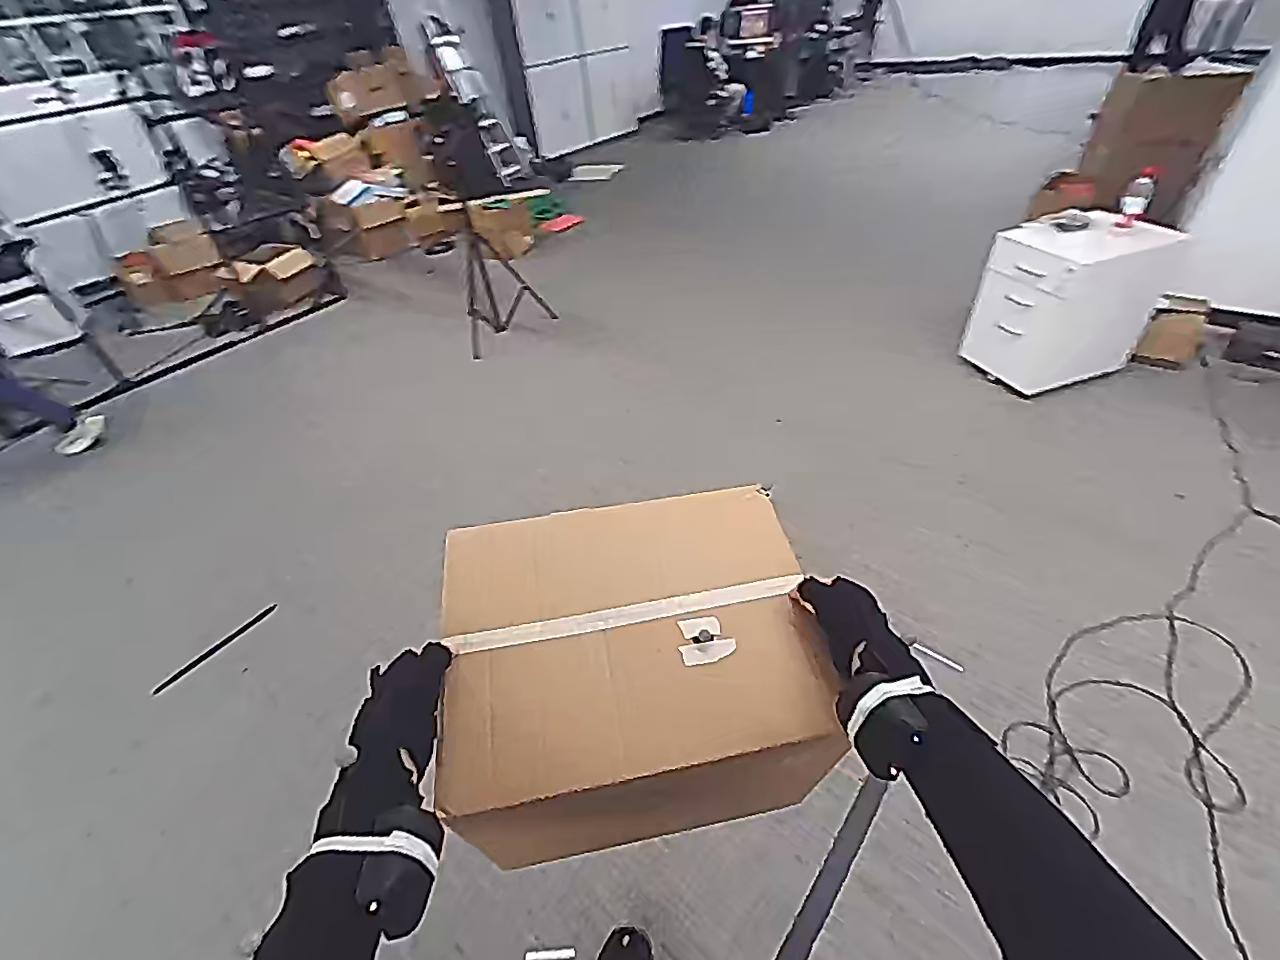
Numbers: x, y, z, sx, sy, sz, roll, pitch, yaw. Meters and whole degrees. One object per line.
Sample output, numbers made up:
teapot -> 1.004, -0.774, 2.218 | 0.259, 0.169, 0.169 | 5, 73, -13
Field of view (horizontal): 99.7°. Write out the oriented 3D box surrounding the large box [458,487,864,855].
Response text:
large box -> 0.000, 0.247, 0.713 | 0.408, 0.320, 0.320 | -7, 48, -8
